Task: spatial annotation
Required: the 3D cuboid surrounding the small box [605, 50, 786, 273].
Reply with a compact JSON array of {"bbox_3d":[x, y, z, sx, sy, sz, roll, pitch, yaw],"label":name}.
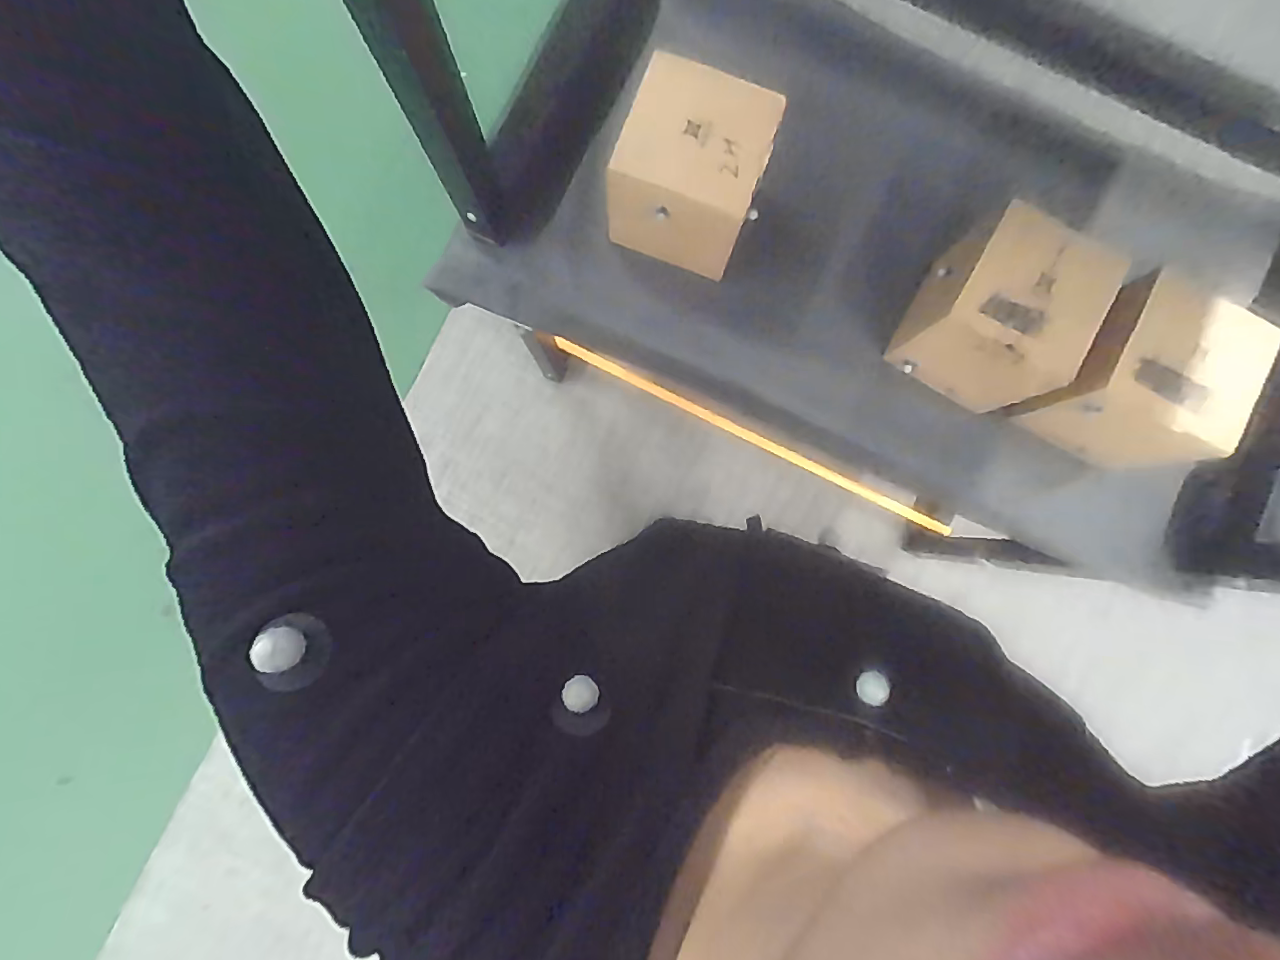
[{"bbox_3d":[0.065,-0.408,0.725,0.179,0.176,0.168,21,86,0],"label":"small box"}]
